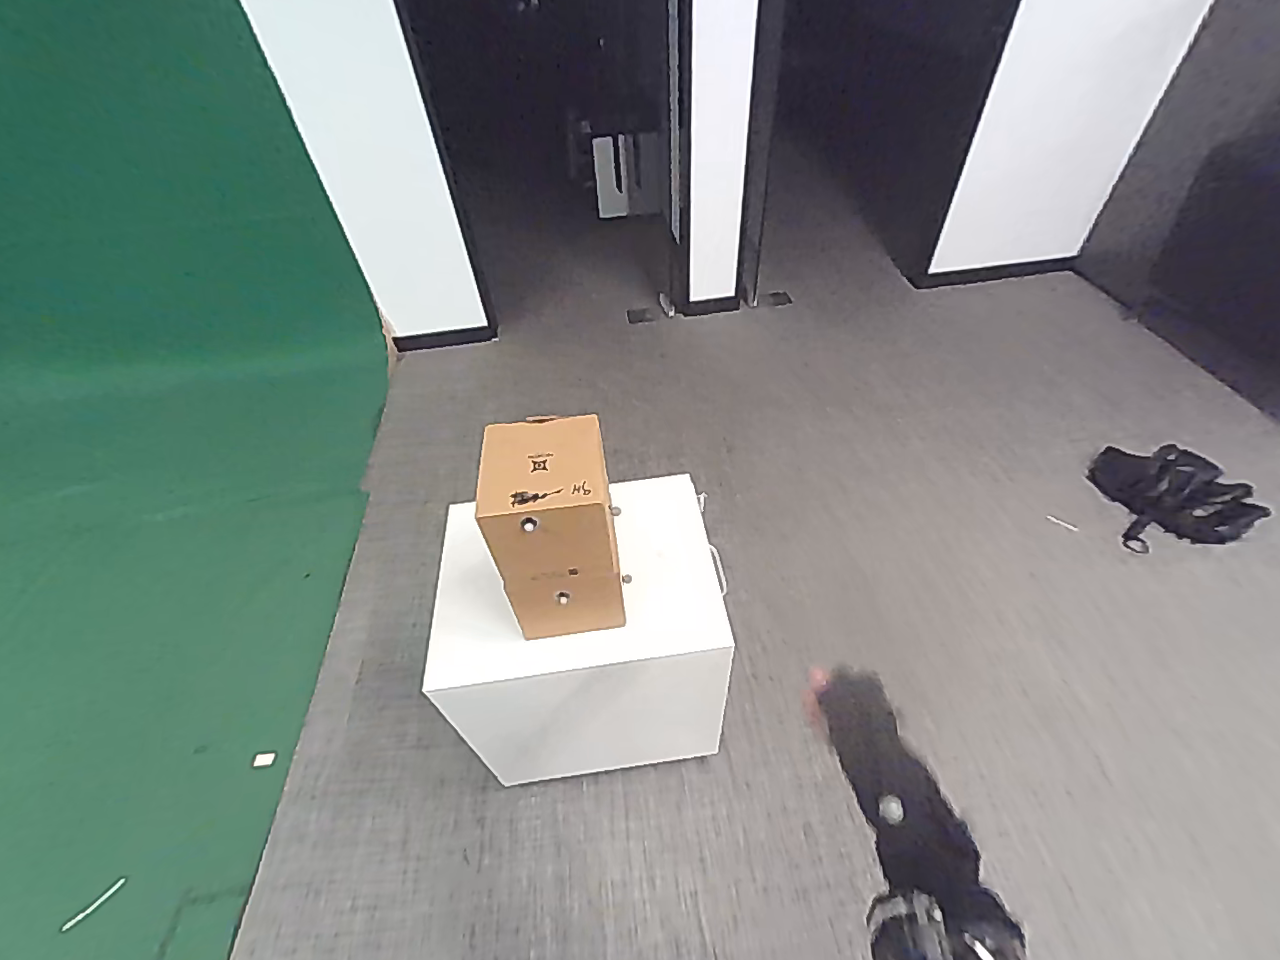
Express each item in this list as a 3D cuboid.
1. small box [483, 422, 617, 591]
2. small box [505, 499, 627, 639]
[{"bbox_3d":[-0.127,0.039,0.803,0.168,0.176,0.179,-8,47,-4],"label":"small box"},{"bbox_3d":[-0.121,0.152,0.918,0.179,0.176,0.168,-7,47,-4],"label":"small box"}]
